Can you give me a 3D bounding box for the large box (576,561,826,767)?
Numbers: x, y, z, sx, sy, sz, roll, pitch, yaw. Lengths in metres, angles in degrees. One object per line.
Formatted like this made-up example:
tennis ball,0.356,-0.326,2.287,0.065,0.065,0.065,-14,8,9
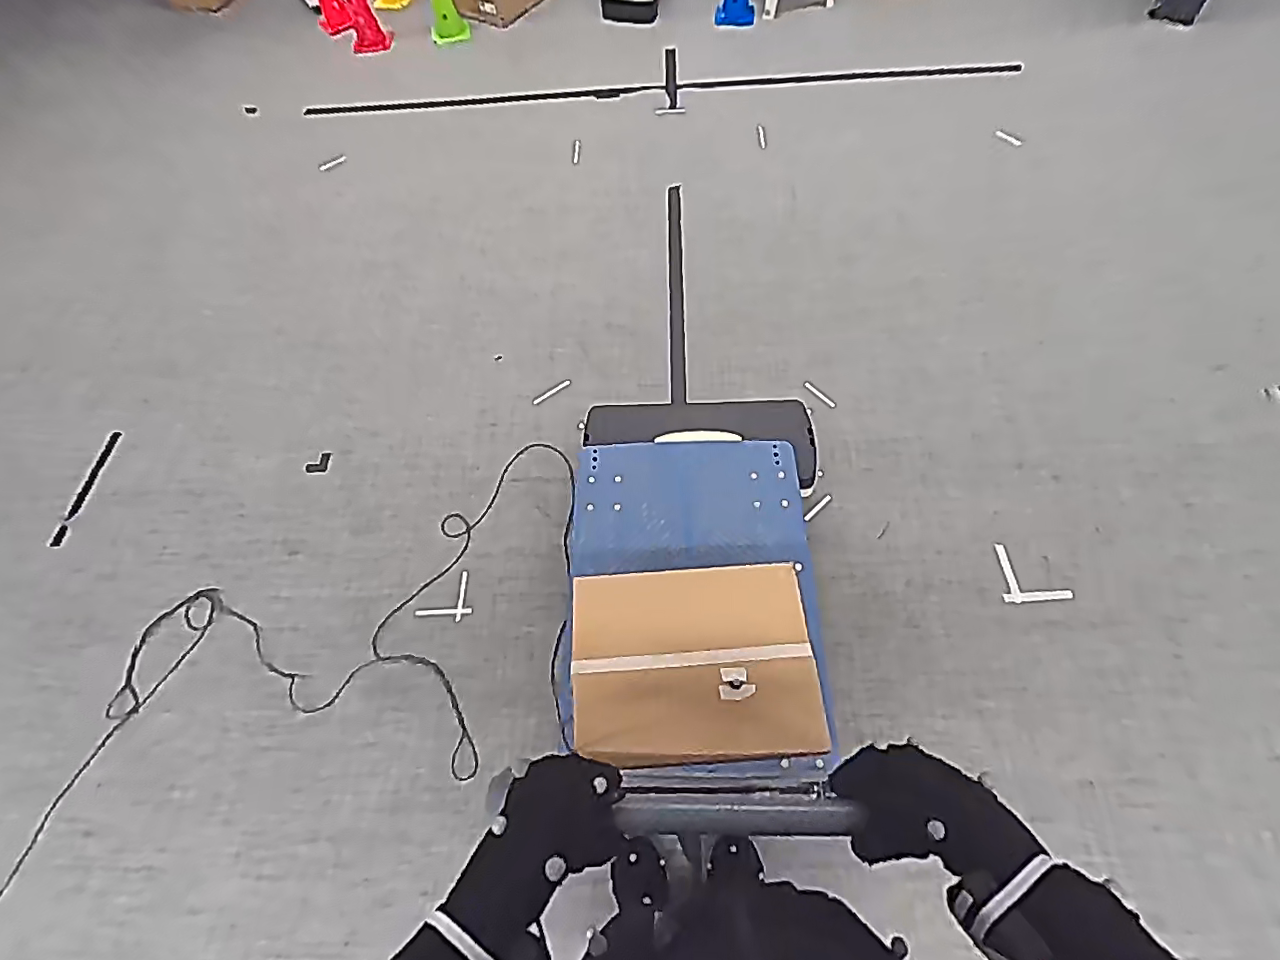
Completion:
large box,0.093,0.373,1.064,0.408,0.320,0.320,-4,62,-1
